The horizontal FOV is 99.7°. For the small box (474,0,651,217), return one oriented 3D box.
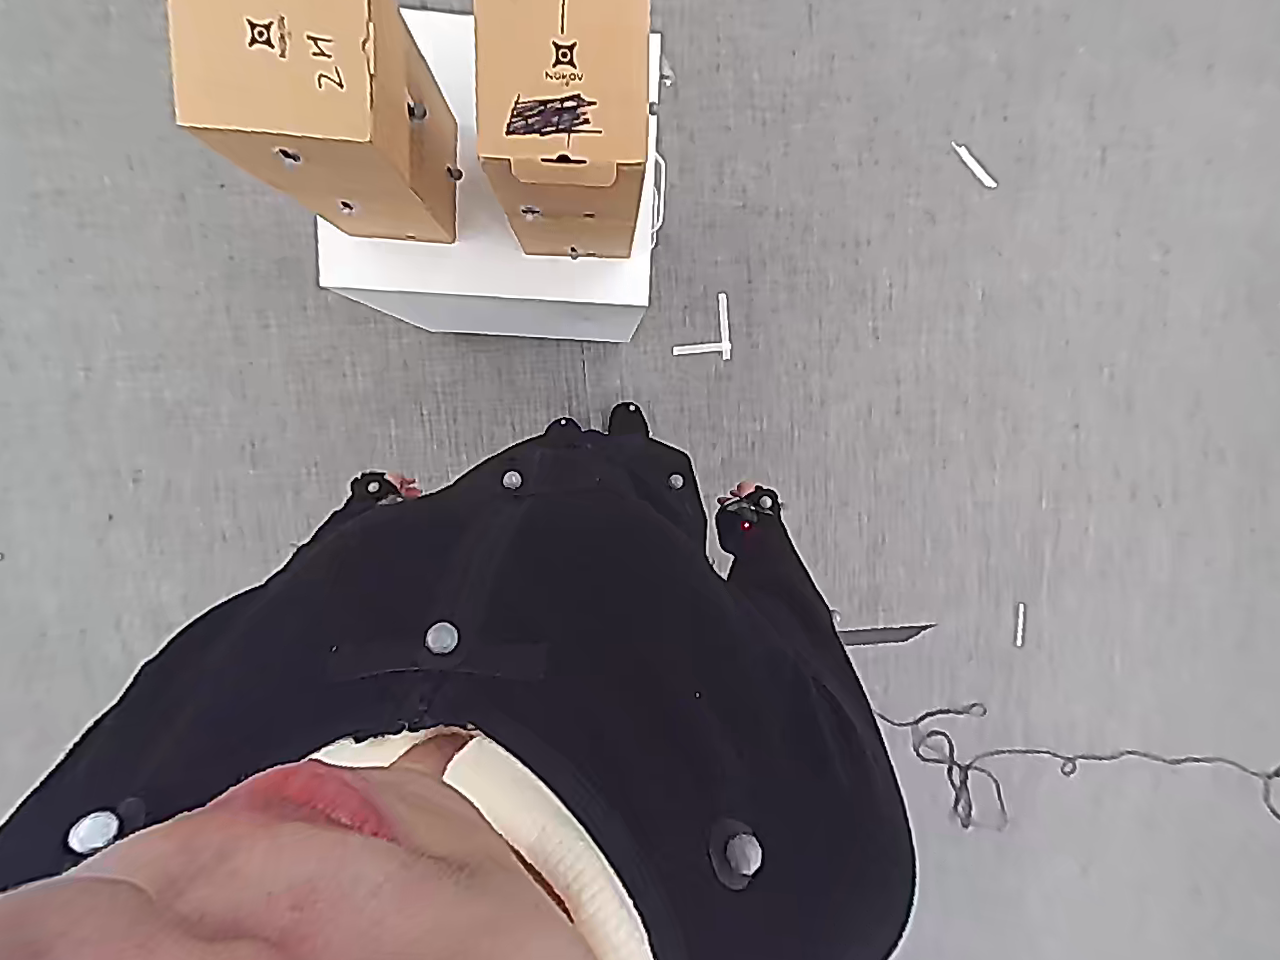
[{"bbox_3d":[-0.077,-0.403,0.588,0.168,0.176,0.179,1,98,-4],"label":"small box"}]

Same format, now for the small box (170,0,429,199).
[{"bbox_3d":[-0.338,-0.412,0.566,0.179,0.176,0.168,2,99,-5],"label":"small box"}]

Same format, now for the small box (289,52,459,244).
[{"bbox_3d":[-0.349,-0.441,0.728,0.168,0.176,0.179,3,97,-4],"label":"small box"}]
